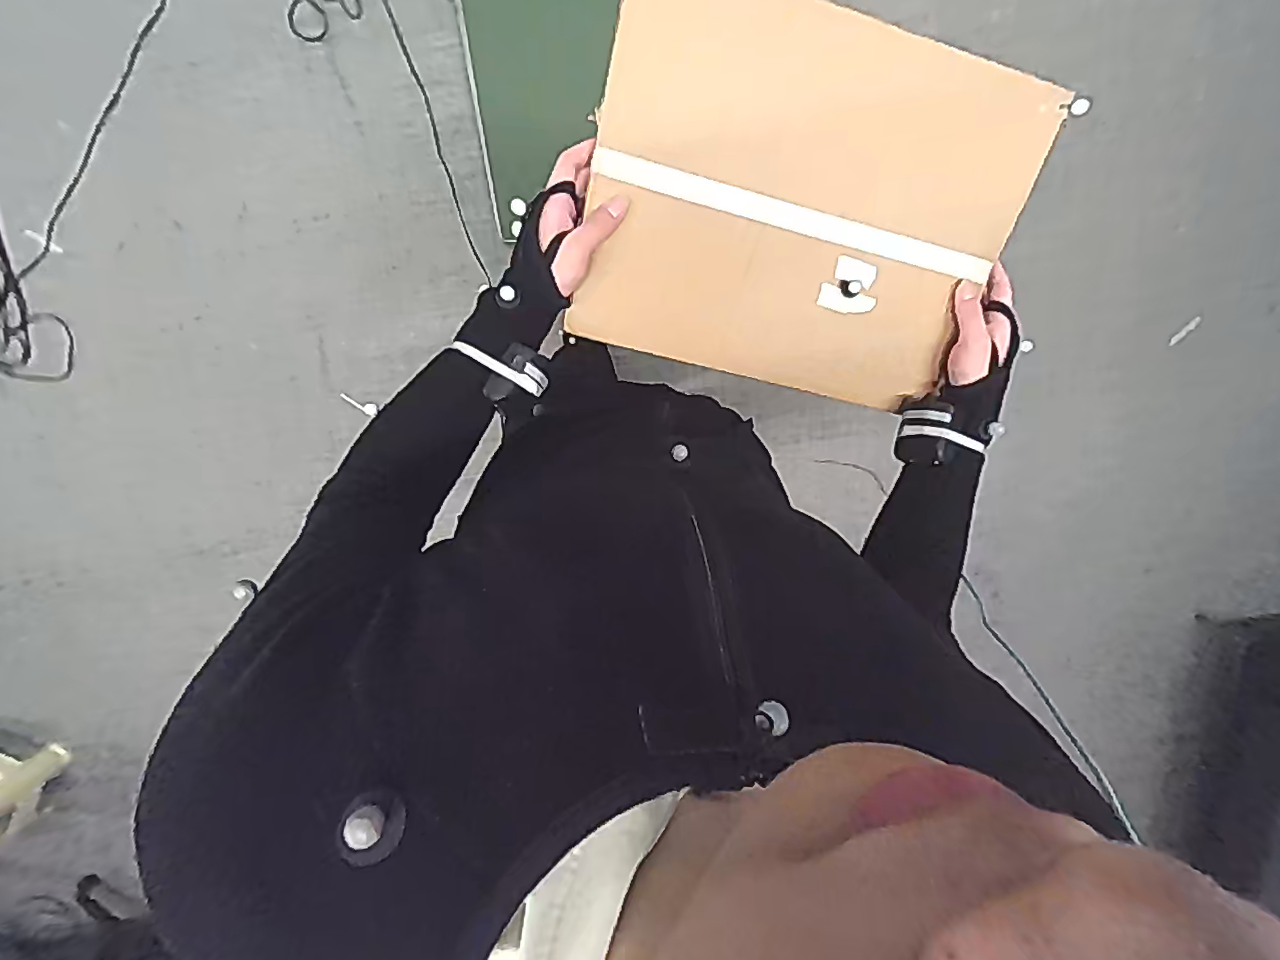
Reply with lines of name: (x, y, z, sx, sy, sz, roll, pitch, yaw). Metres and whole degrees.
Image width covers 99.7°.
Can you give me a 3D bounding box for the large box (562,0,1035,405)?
large box: (0.130, -0.312, 0.662, 0.408, 0.320, 0.320, 10, 114, -8)
